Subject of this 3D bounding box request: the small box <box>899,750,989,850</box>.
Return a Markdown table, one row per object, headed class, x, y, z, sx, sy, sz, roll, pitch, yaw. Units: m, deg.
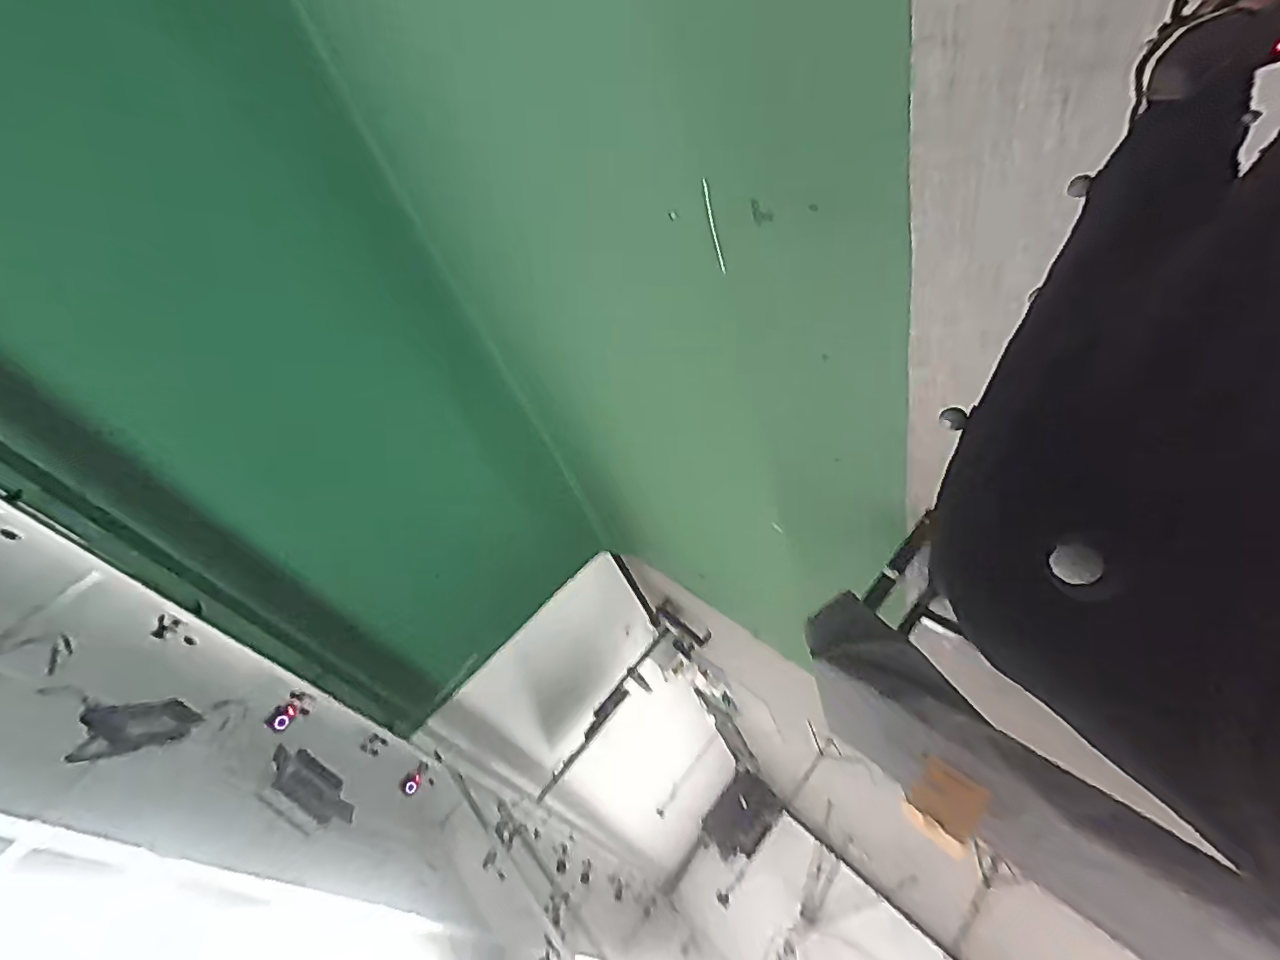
| class | x | y | z | sx | sy | sz | roll | pitch | yaw |
| --- | --- | --- | --- | --- | --- | --- | --- | --- | --- |
| small box | 0.870 | 0.913 | 1.551 | 0.168 | 0.176 | 0.179 | 30 | 156 | 40 |
